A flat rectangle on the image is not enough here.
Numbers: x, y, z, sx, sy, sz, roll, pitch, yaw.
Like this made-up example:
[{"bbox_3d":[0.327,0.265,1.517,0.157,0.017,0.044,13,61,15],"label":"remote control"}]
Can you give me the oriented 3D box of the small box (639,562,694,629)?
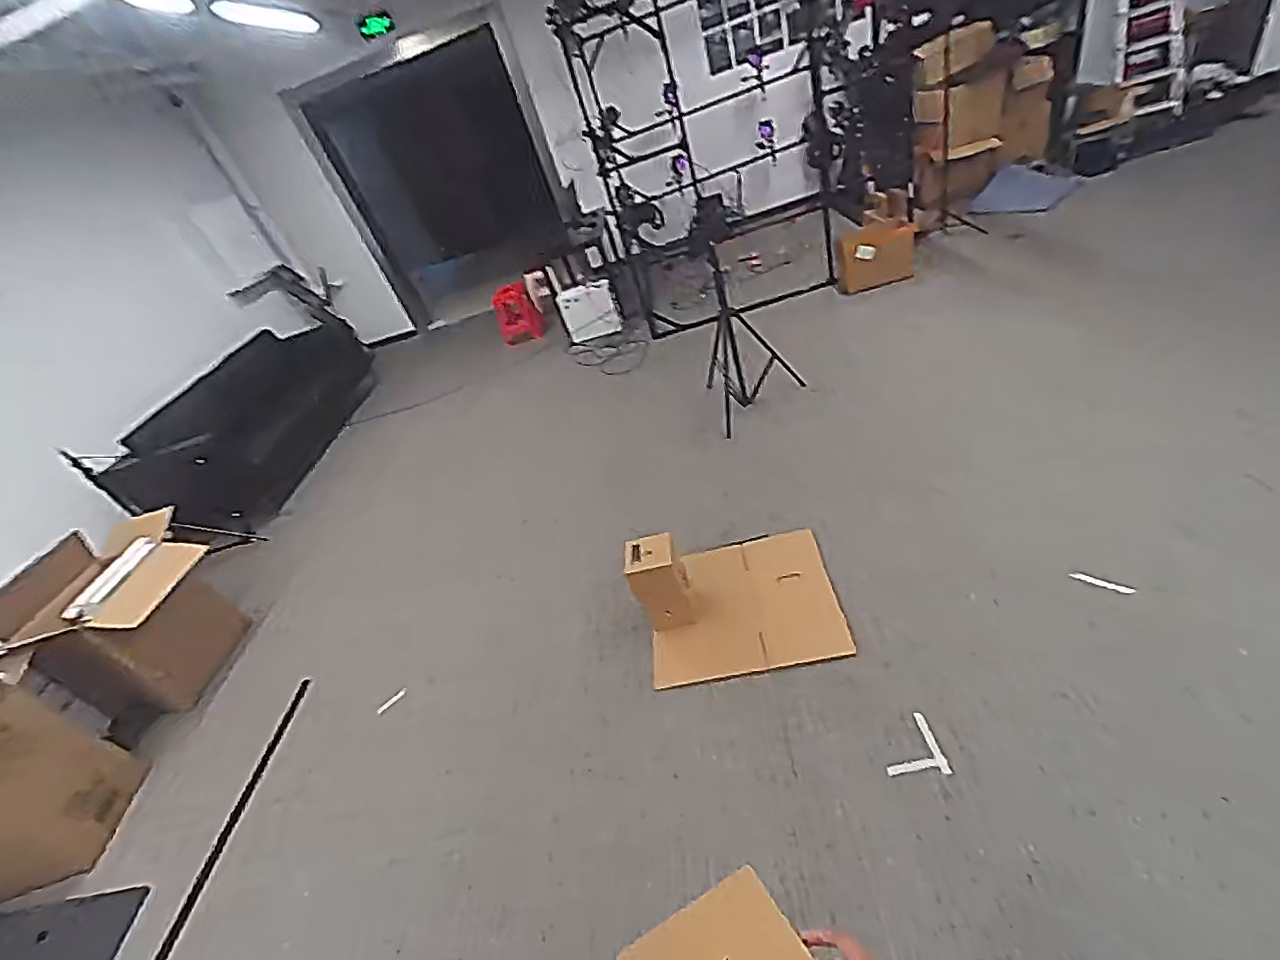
[{"bbox_3d":[0.104,0.447,2.086,0.179,0.176,0.168,-15,36,11],"label":"small box"}]
